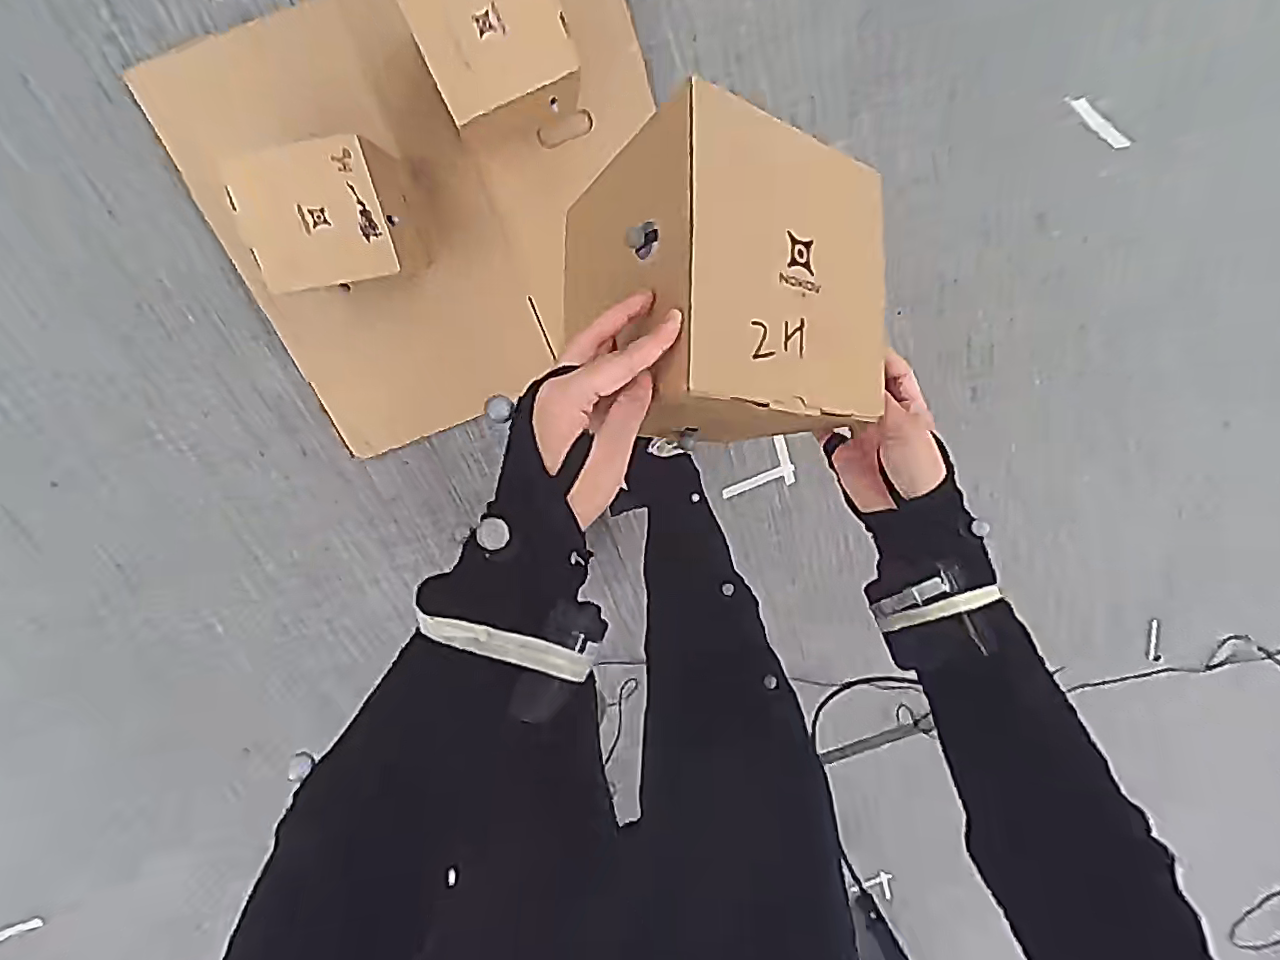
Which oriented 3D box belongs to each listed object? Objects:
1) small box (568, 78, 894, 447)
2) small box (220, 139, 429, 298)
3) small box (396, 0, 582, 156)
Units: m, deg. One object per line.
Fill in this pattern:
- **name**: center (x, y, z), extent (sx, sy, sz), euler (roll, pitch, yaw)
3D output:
- **small box**: center (0.056, -0.121, 0.388), extent (0.168, 0.176, 0.179), euler (2, 88, -31)
- **small box**: center (-0.426, -0.360, 0.767), extent (0.179, 0.176, 0.168), euler (-12, 113, -3)
- **small box**: center (-0.194, -0.570, 0.726), extent (0.179, 0.176, 0.168), euler (-25, 112, 1)
